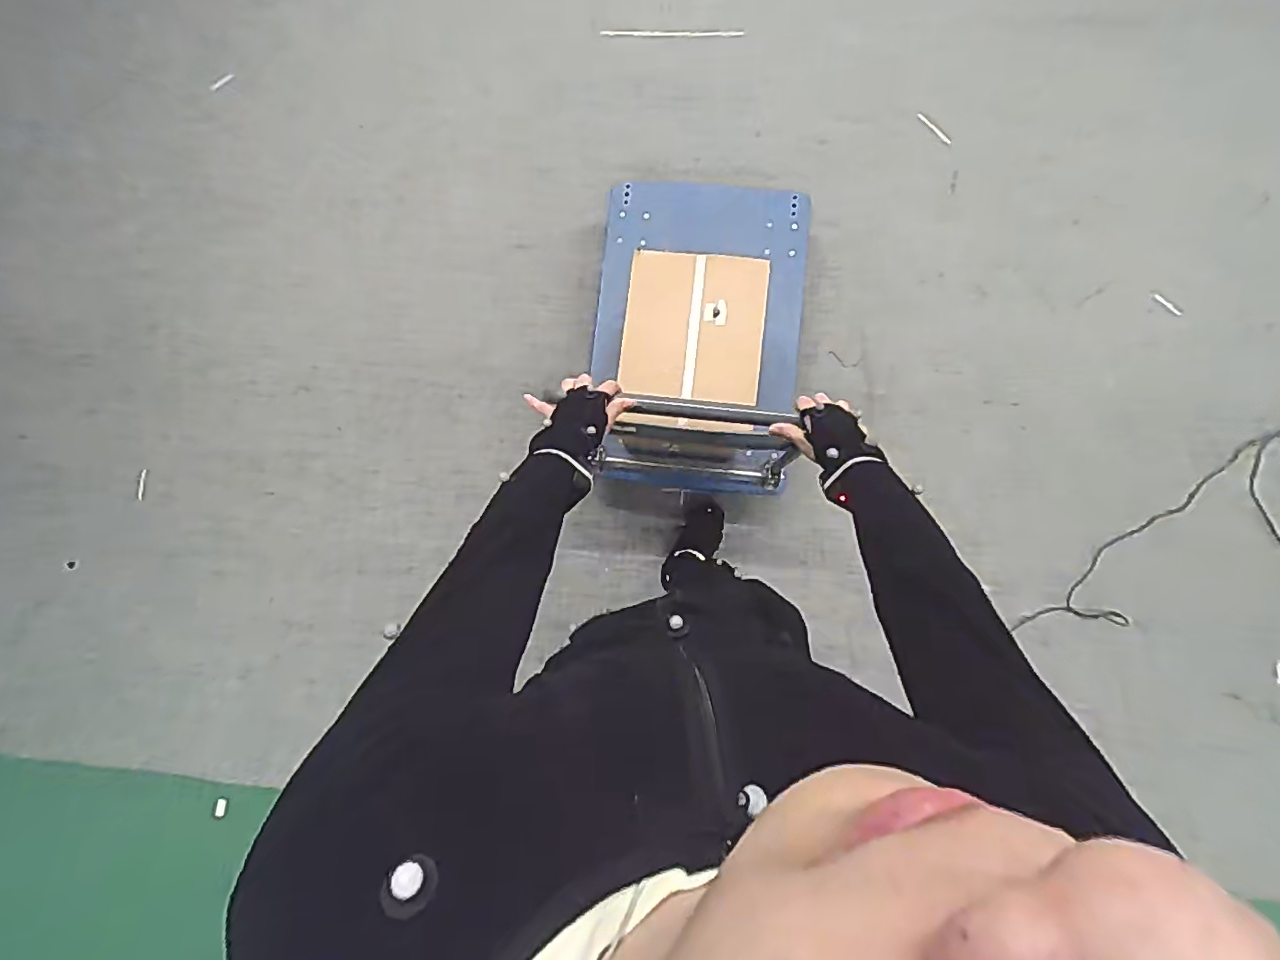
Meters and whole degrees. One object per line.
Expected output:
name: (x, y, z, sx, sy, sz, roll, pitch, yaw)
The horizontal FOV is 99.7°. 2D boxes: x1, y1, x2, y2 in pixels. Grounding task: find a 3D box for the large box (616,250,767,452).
large box: (0.128, -0.302, 1.360, 0.320, 0.320, 0.408, 6, 83, 4)
